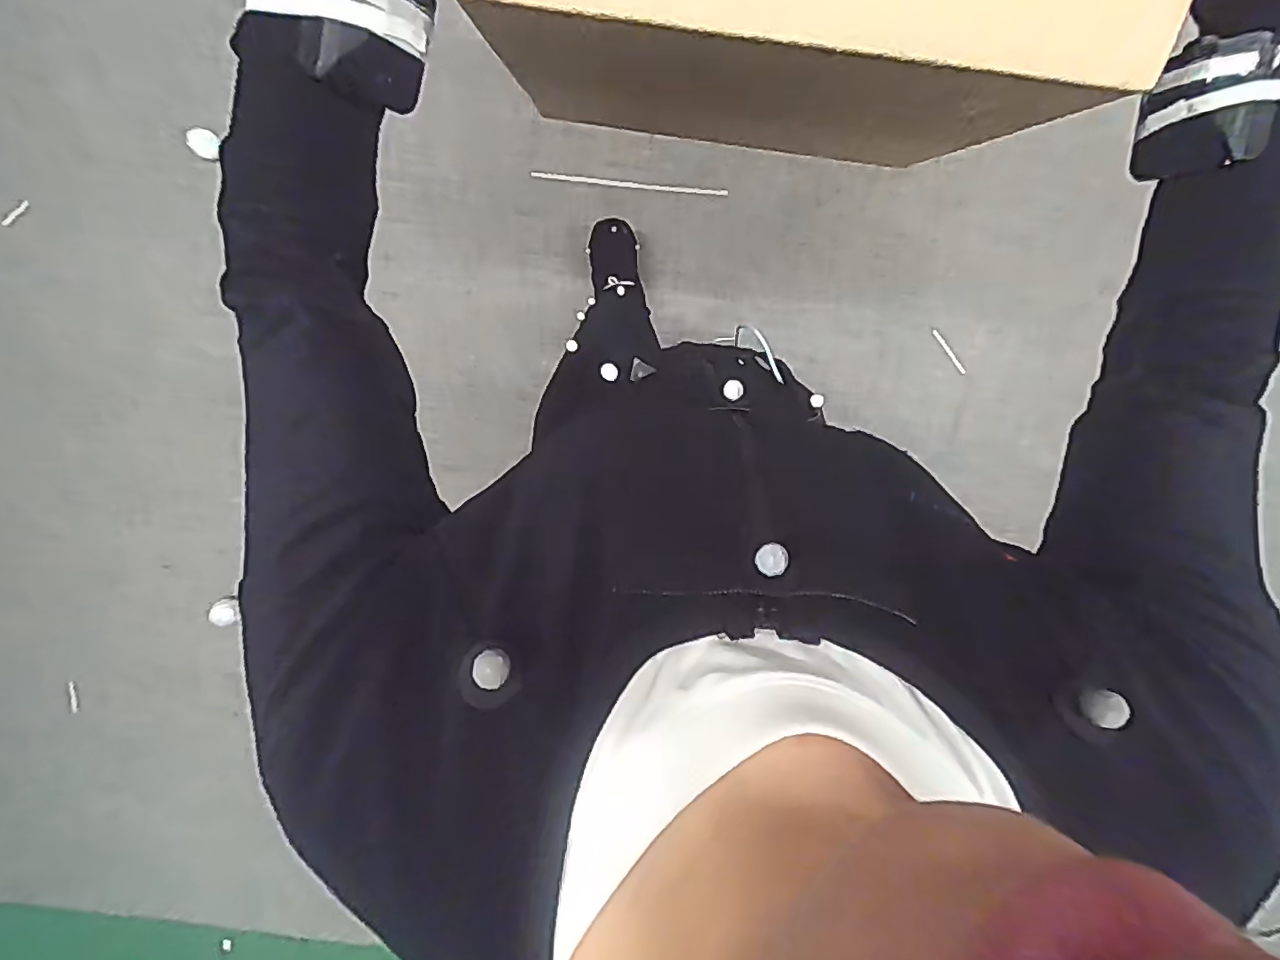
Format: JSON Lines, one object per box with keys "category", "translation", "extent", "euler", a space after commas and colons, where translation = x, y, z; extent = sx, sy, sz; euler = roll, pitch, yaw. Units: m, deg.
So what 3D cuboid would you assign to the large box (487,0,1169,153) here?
{"category": "large box", "translation": [0.111, -0.456, 0.389], "extent": [0.408, 0.320, 0.320], "euler": [5, 113, -3]}
